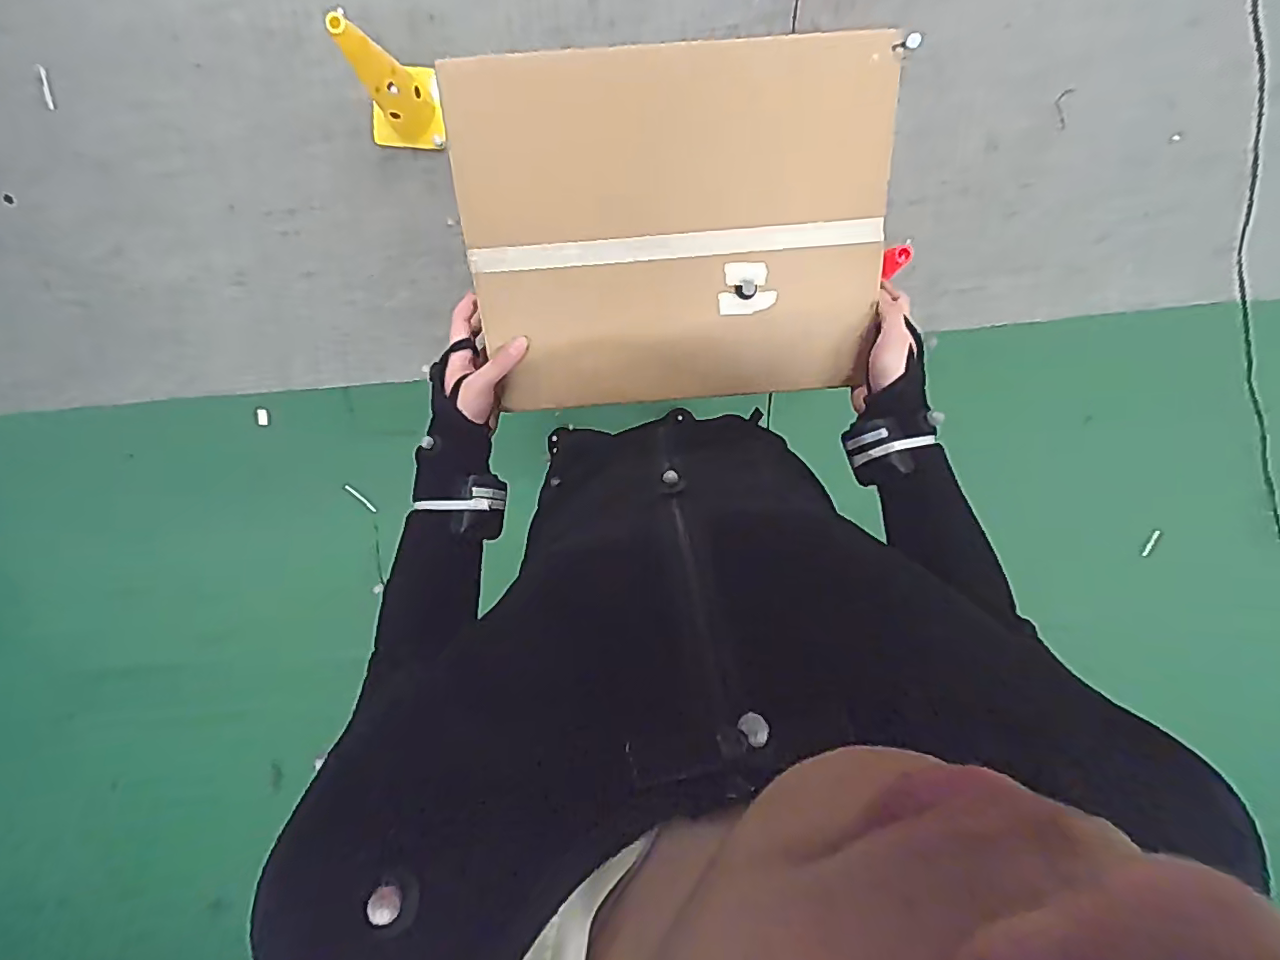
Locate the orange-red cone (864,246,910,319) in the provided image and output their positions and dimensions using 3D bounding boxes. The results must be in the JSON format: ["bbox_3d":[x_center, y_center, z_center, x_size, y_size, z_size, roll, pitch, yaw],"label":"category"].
[{"bbox_3d":[0.573,-0.524,1.346,0.199,0.360,0.198,2,101,0],"label":"orange-red cone"}]

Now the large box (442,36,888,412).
[{"bbox_3d":[0.025,-0.293,0.669,0.408,0.320,0.320,-5,115,-2],"label":"large box"}]
